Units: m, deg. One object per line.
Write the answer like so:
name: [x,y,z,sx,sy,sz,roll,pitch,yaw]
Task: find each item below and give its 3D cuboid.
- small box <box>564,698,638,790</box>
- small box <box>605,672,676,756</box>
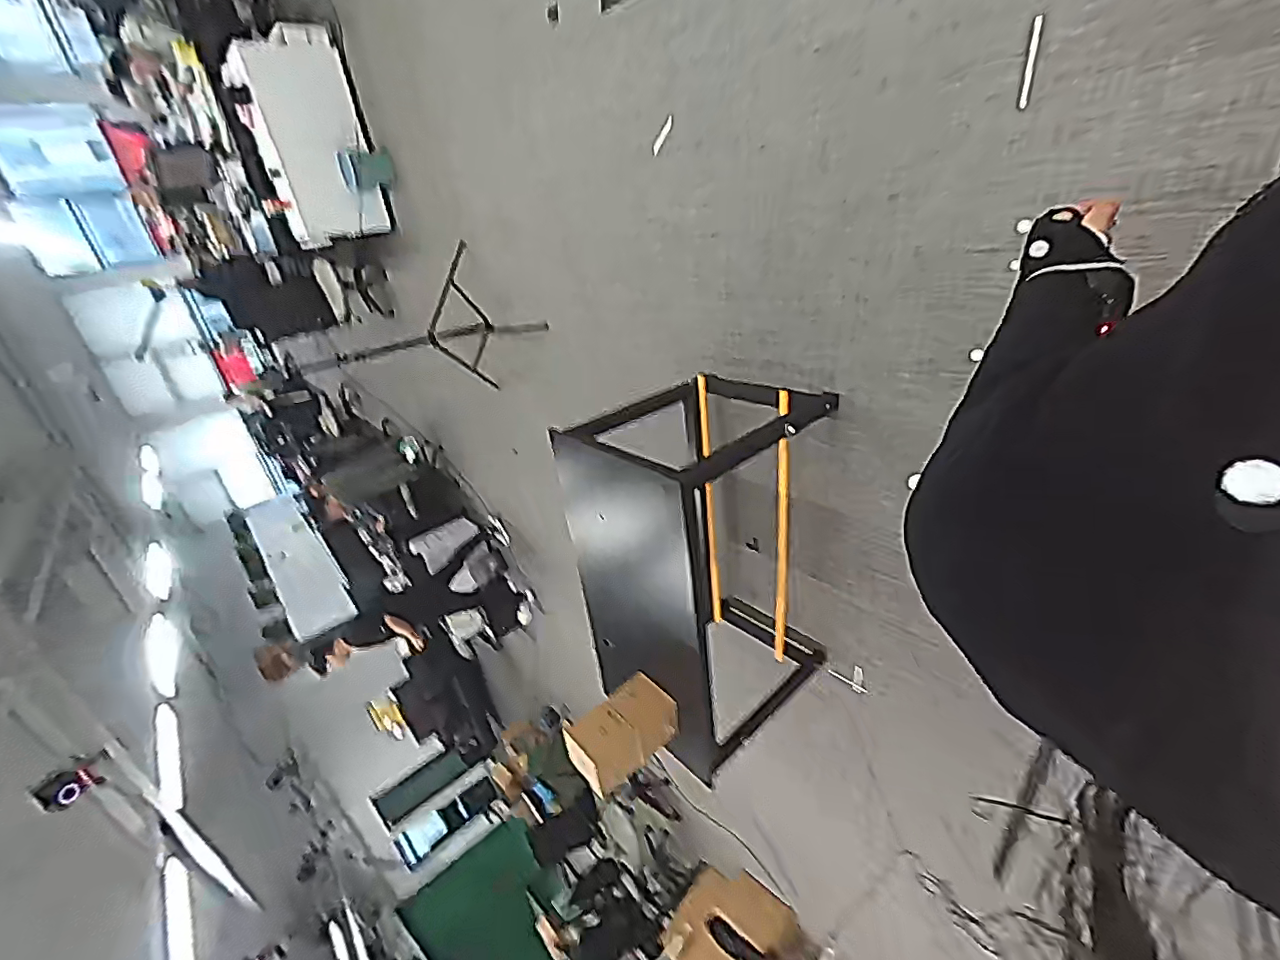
small box: [-0.123,0.856,1.769,0.168,0.176,0.179,28,135,43]
small box: [0.005,0.790,1.851,0.179,0.176,0.168,26,134,42]
